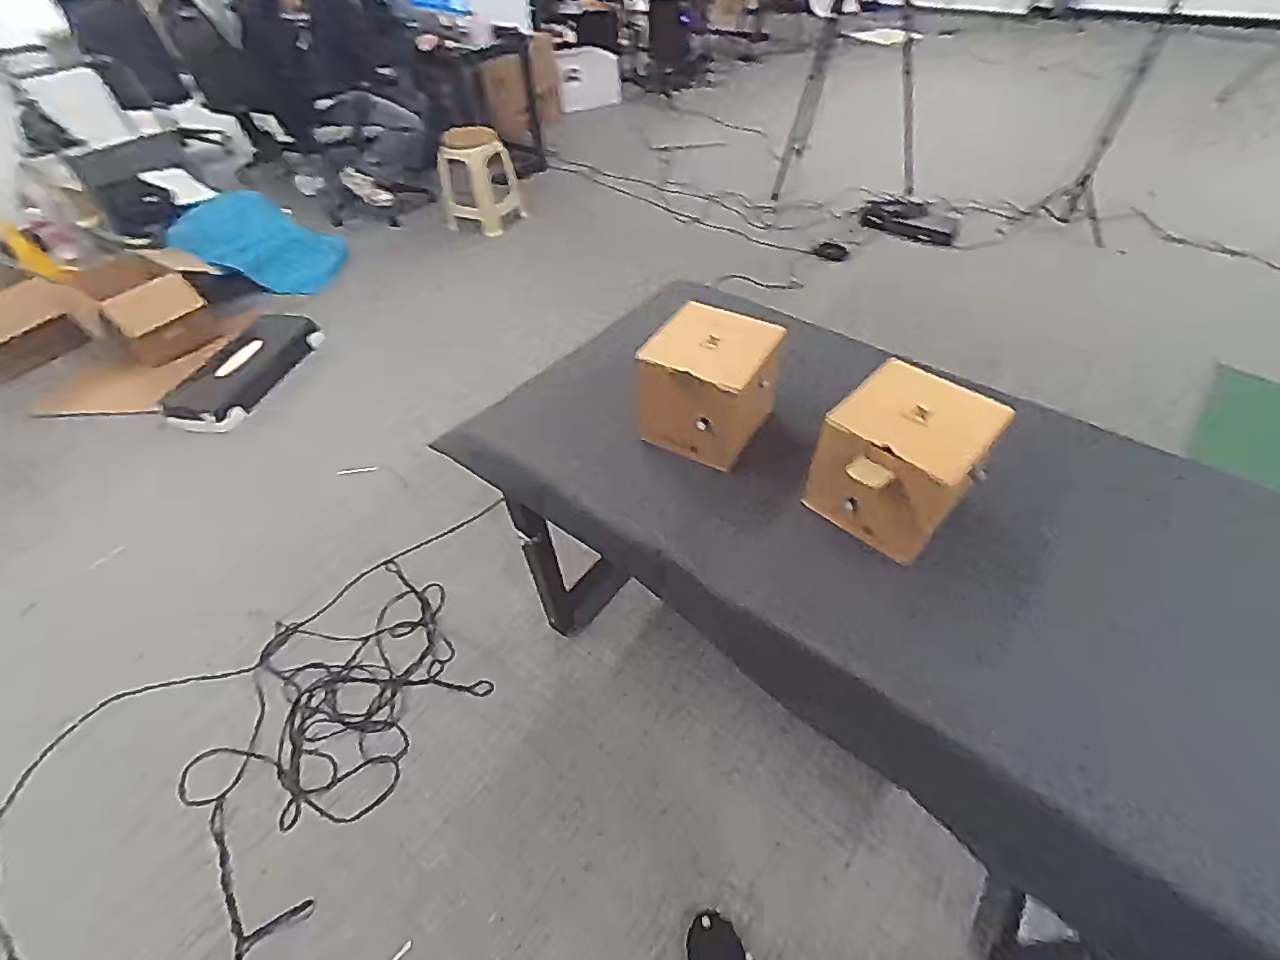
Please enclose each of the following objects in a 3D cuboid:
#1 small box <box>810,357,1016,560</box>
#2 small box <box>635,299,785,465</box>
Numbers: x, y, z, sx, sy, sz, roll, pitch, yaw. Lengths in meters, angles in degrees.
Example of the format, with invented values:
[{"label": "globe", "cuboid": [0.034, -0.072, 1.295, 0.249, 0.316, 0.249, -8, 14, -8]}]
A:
[{"label": "small box", "cuboid": [0.353, -0.030, 0.729, 0.168, 0.176, 0.179, 36, 59, 29]}, {"label": "small box", "cuboid": [0.108, -0.152, 0.850, 0.168, 0.176, 0.179, 24, 52, 20]}]
